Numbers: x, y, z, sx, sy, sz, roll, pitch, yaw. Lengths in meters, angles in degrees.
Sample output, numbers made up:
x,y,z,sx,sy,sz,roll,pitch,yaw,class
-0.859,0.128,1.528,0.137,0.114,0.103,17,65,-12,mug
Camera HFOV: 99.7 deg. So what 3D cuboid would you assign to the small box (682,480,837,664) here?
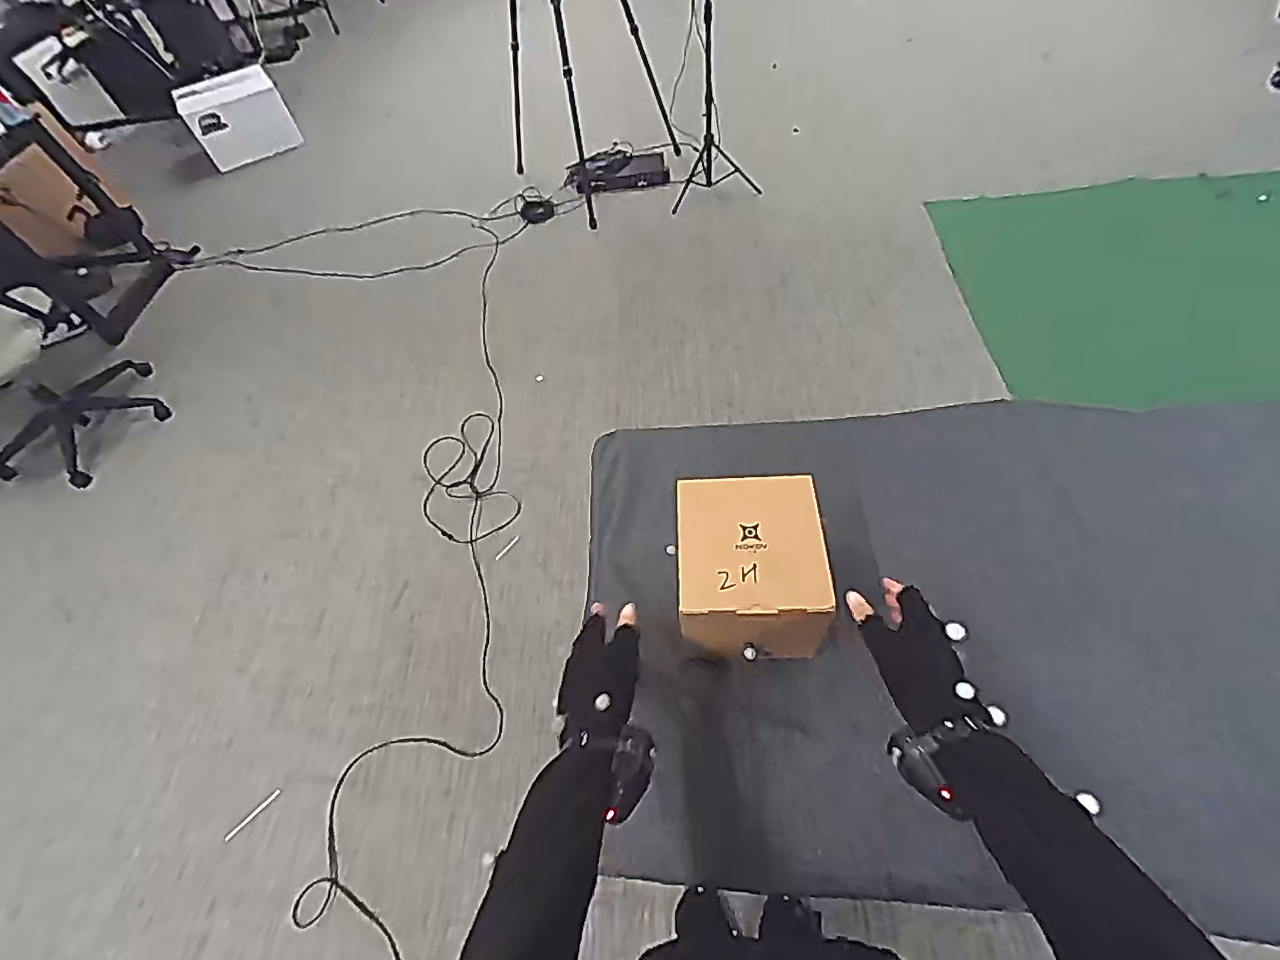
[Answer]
x,y,z,sx,sy,sz,roll,pitch,yaw,class
0.137,0.119,0.686,0.168,0.176,0.179,-2,55,6,small box
